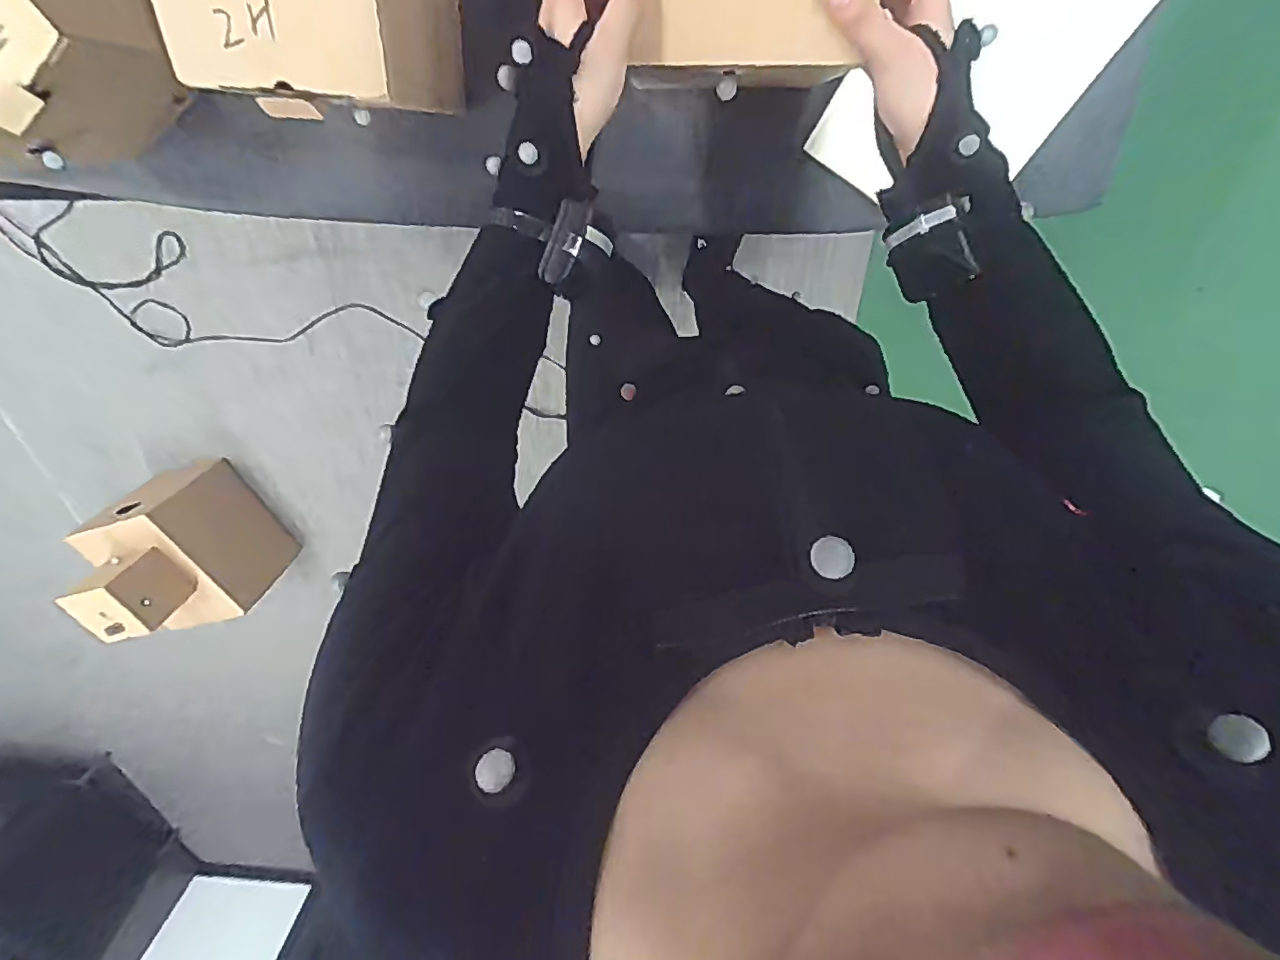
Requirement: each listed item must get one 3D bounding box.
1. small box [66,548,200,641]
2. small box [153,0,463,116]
[{"bbox_3d":[-1.402,0.320,1.512,0.168,0.176,0.179,-14,120,12],"label":"small box"},{"bbox_3d":[-0.257,-0.408,0.435,0.168,0.176,0.179,6,122,3],"label":"small box"}]
